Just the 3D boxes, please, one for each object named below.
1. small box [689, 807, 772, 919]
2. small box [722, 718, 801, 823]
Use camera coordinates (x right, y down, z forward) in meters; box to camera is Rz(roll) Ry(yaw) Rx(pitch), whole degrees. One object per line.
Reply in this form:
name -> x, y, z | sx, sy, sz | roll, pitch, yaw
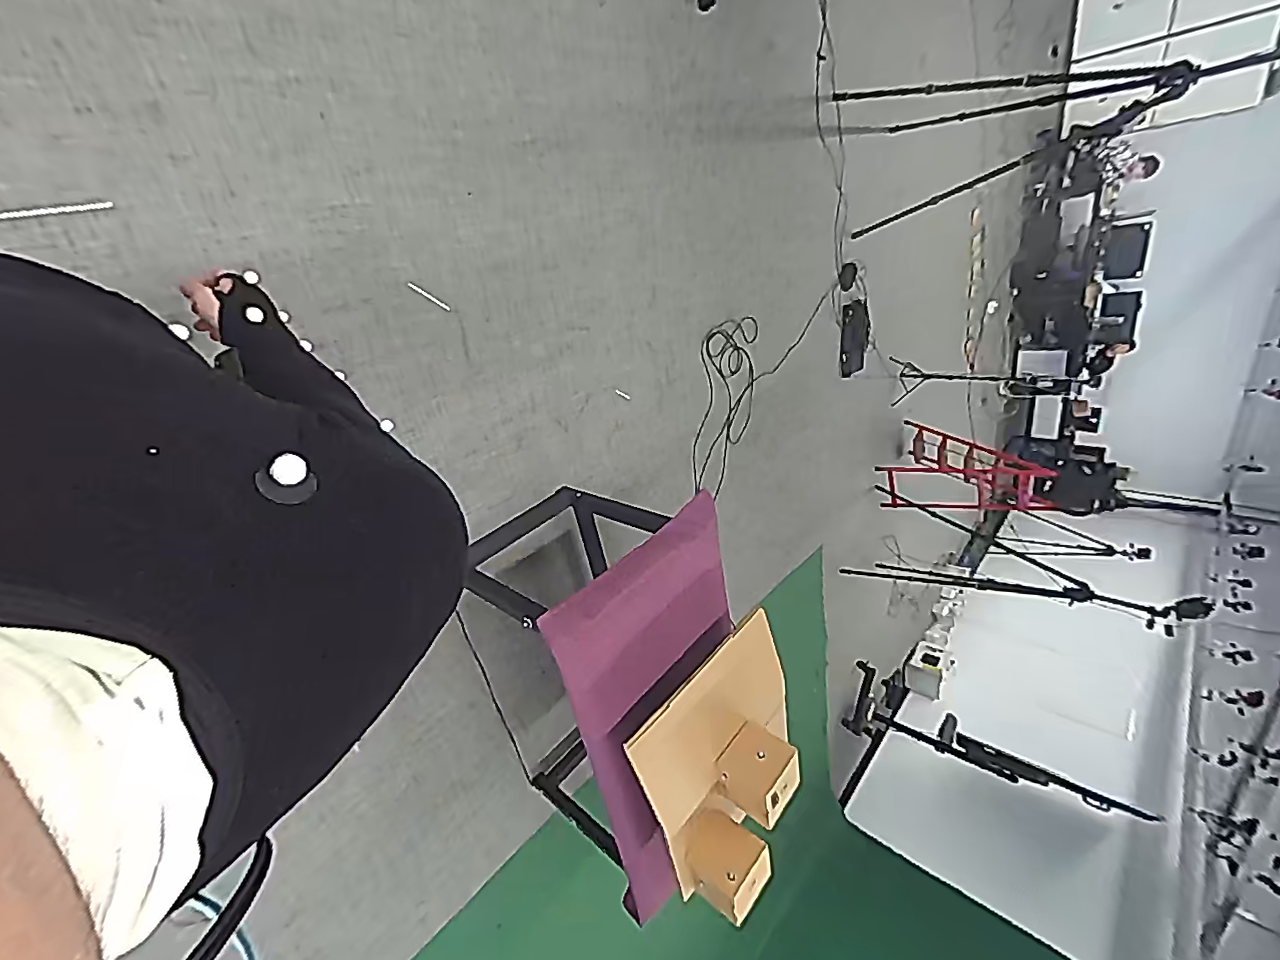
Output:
small box -> 0.267, 1.115, 1.589 | 0.179, 0.176, 0.168 | -34, 126, -35
small box -> 0.353, 0.849, 1.593 | 0.179, 0.176, 0.168 | -36, 127, -36
